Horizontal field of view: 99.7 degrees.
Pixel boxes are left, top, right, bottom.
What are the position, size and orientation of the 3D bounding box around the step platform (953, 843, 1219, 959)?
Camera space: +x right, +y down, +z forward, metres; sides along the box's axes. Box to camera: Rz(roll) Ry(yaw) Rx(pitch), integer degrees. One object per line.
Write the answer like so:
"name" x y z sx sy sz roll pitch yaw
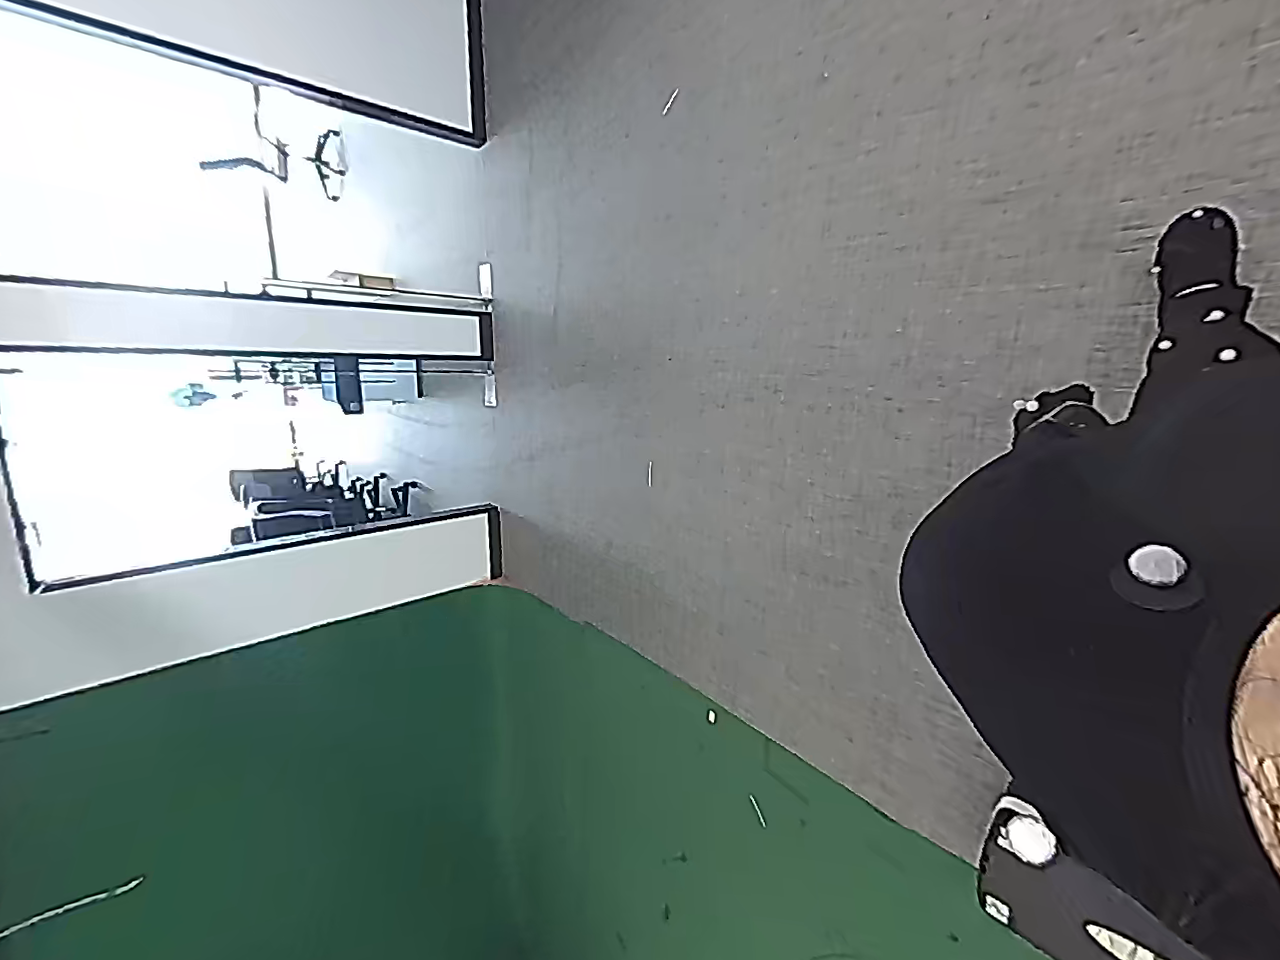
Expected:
"step platform" 0.977 1.014 0.978 0.684 0.204 0.286 14 107 46
